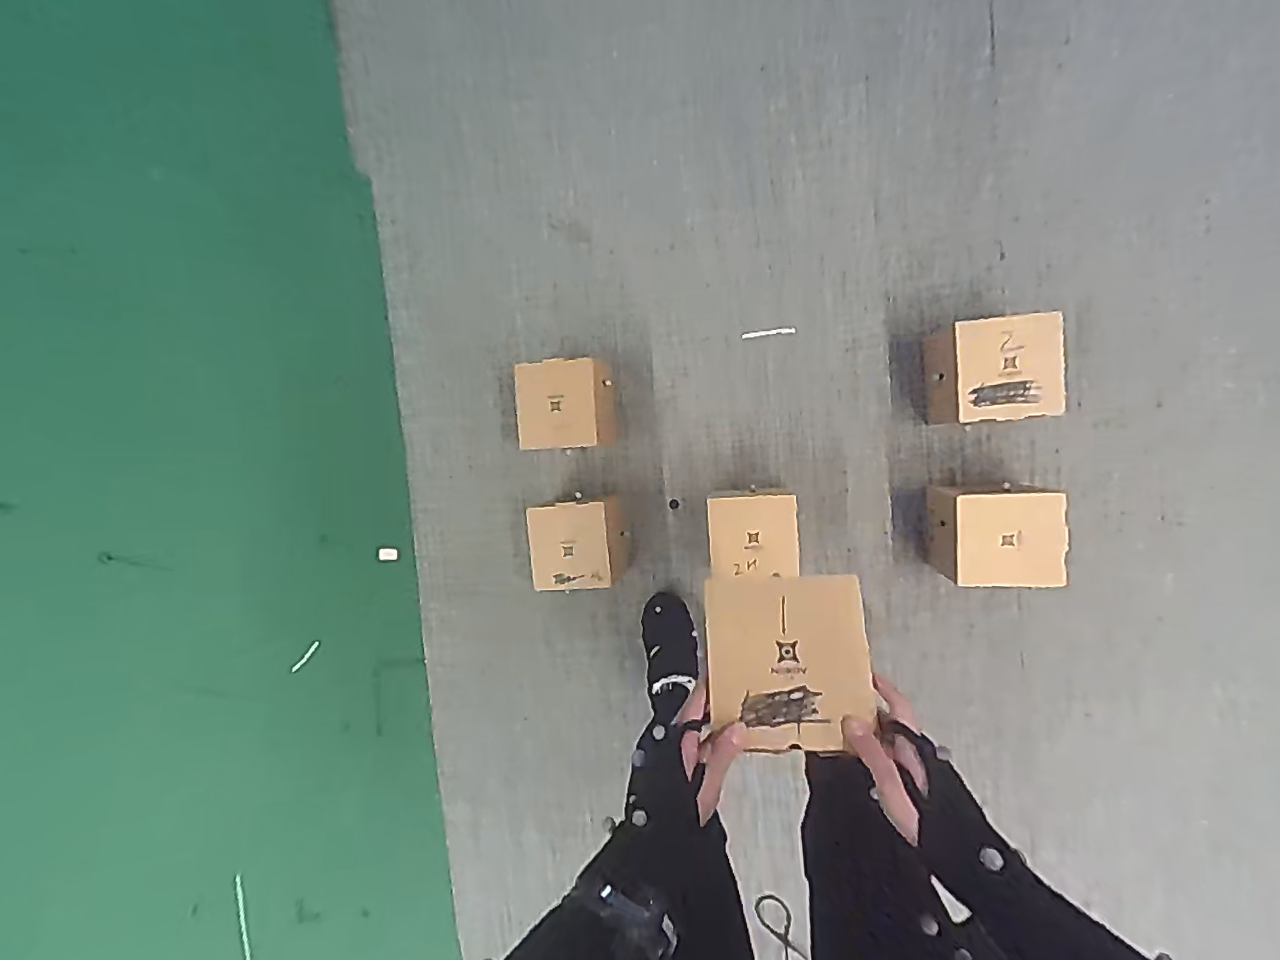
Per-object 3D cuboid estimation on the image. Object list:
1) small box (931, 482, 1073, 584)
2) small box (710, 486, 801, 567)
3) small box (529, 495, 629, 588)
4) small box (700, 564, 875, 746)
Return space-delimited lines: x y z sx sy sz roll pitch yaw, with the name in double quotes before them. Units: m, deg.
"small box" 0.654 0.091 0.998 0.179 0.176 0.168 -2 94 10
"small box" 0.227 0.104 1.079 0.168 0.176 0.179 -3 93 11
"small box" -0.124 0.123 1.148 0.168 0.176 0.179 -4 92 12
"small box" 0.160 0.198 0.629 0.168 0.176 0.179 -3 72 9
